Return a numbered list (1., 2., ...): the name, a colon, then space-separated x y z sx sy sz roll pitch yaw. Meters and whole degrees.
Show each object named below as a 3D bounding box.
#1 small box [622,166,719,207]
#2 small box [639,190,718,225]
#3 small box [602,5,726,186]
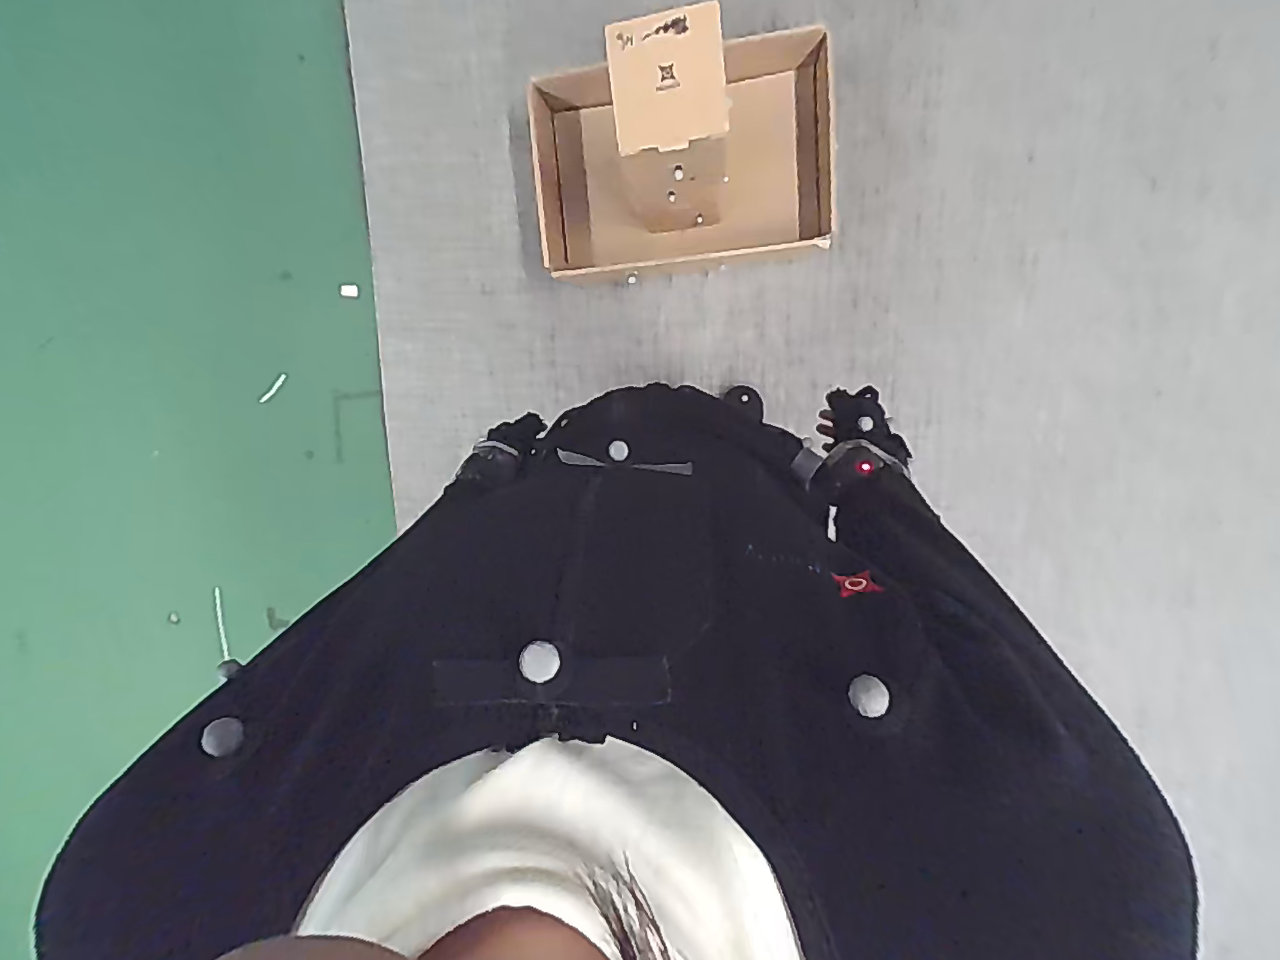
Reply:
1. small box: 0.061 -0.636 1.031 0.179 0.176 0.168 -2 100 9
2. small box: 0.081 -0.669 1.174 0.168 0.176 0.179 -4 99 9
3. small box: 0.048 -0.599 0.875 0.168 0.176 0.179 -7 99 11
